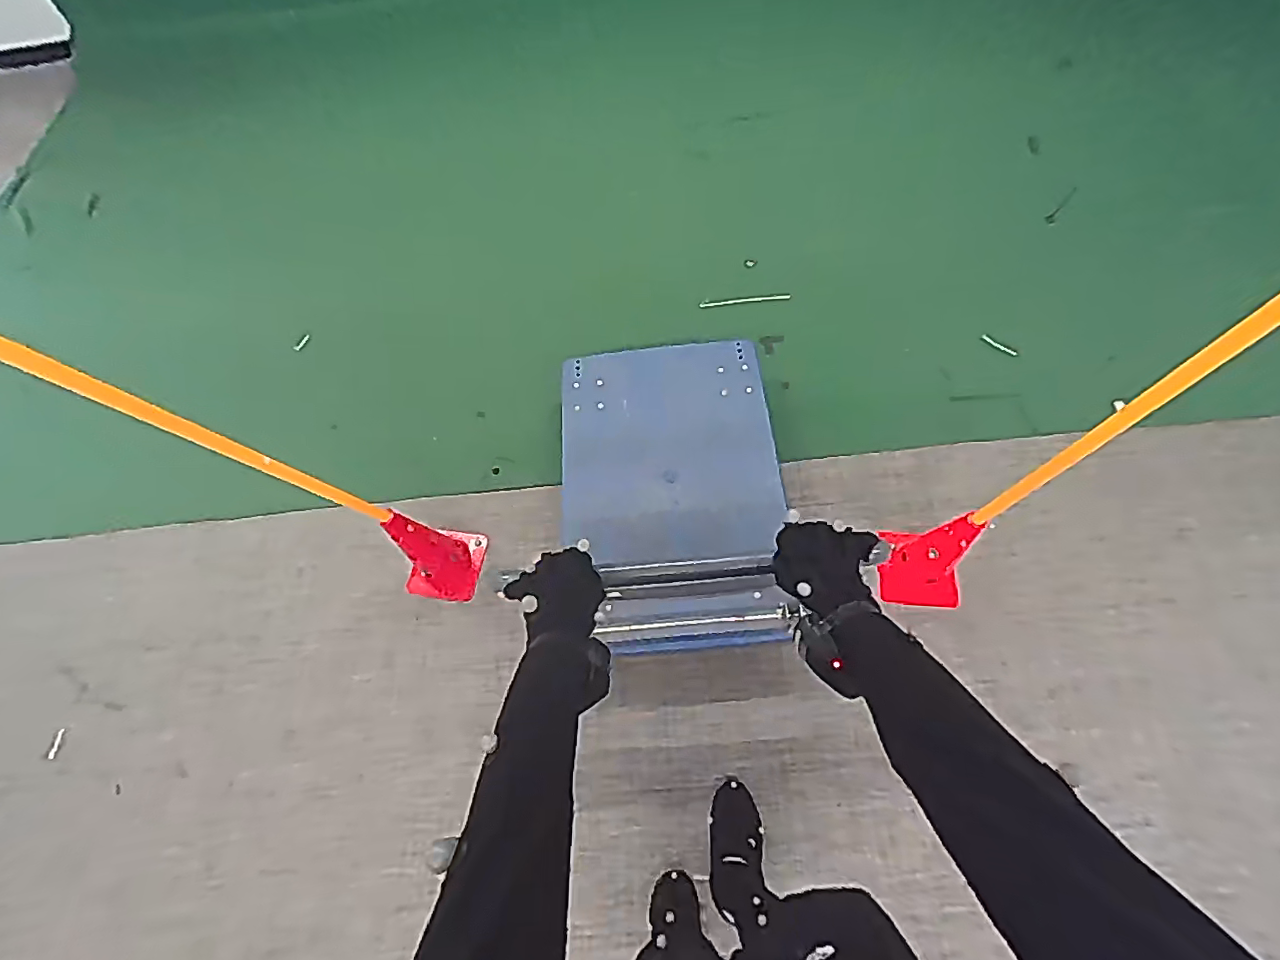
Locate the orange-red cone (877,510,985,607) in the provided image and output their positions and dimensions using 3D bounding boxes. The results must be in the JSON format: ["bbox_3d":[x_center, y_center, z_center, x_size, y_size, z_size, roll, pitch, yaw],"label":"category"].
[{"bbox_3d":[0.720,0.158,1.285,0.198,0.360,0.199,4,65,8],"label":"orange-red cone"}]
